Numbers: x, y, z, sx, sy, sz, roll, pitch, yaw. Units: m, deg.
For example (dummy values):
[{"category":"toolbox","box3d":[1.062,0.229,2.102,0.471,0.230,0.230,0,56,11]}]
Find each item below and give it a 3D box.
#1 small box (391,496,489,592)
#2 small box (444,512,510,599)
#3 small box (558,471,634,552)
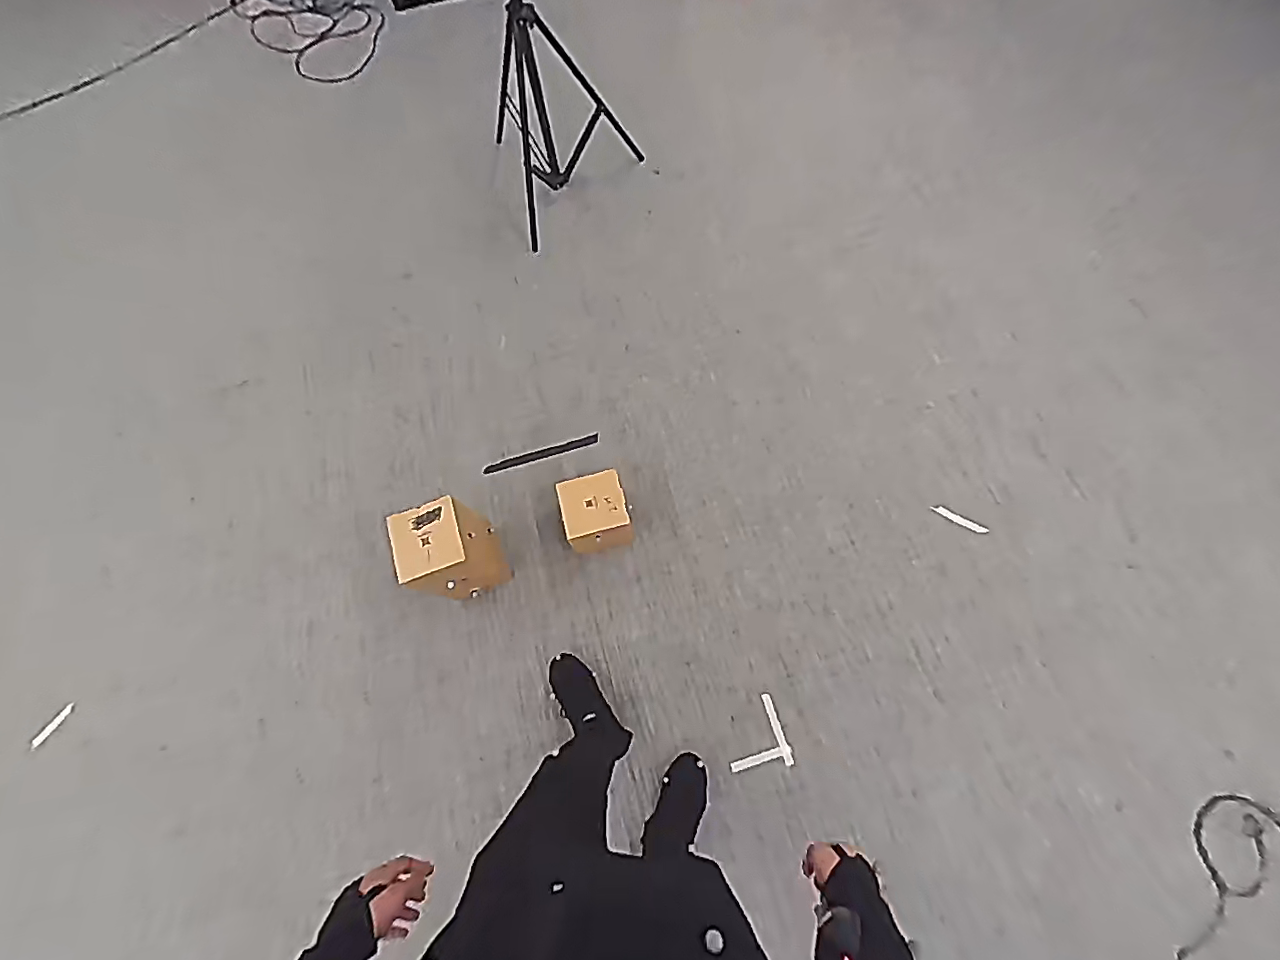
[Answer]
[{"category":"small box","box3d":[-0.499,0.165,1.362,0.168,0.176,0.179,-19,70,-3]},{"category":"small box","box3d":[-0.483,0.216,1.517,0.168,0.176,0.179,-21,70,-4]},{"category":"small box","box3d":[-0.122,0.095,1.539,0.179,0.176,0.168,-14,70,-2]}]
